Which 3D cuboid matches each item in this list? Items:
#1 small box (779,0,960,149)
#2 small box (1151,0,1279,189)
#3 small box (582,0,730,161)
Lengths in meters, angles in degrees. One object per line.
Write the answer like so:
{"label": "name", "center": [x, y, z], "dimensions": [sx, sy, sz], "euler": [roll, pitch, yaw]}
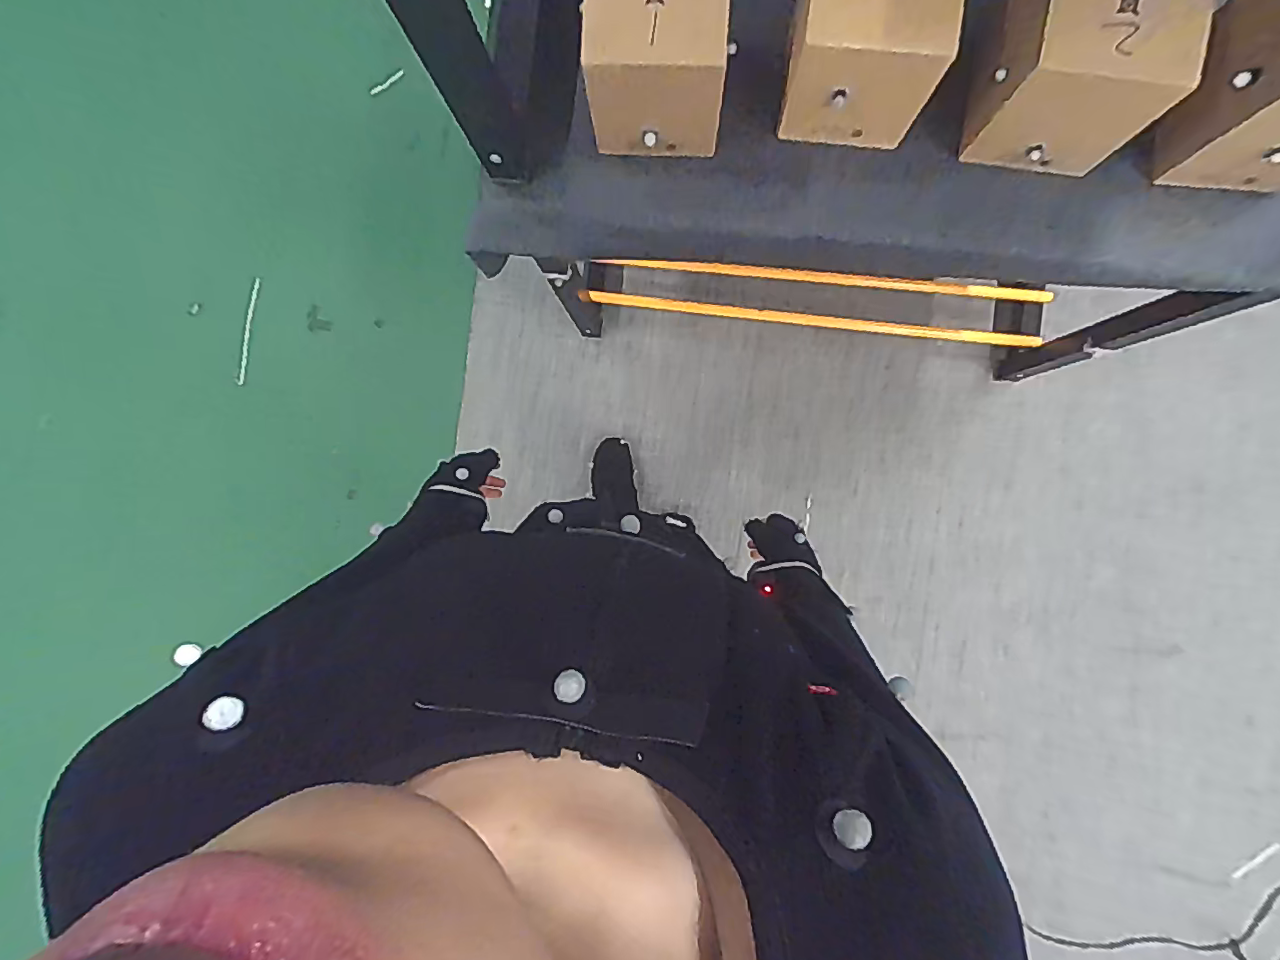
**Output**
{"label": "small box", "center": [0.278, -0.551, 0.676], "dimensions": [0.168, 0.176, 0.179], "euler": [7, 89, 3]}
{"label": "small box", "center": [0.764, -0.475, 0.639], "dimensions": [0.168, 0.176, 0.179], "euler": [6, 88, 4]}
{"label": "small box", "center": [0.024, -0.545, 0.690], "dimensions": [0.168, 0.176, 0.179], "euler": [3, 90, 4]}
